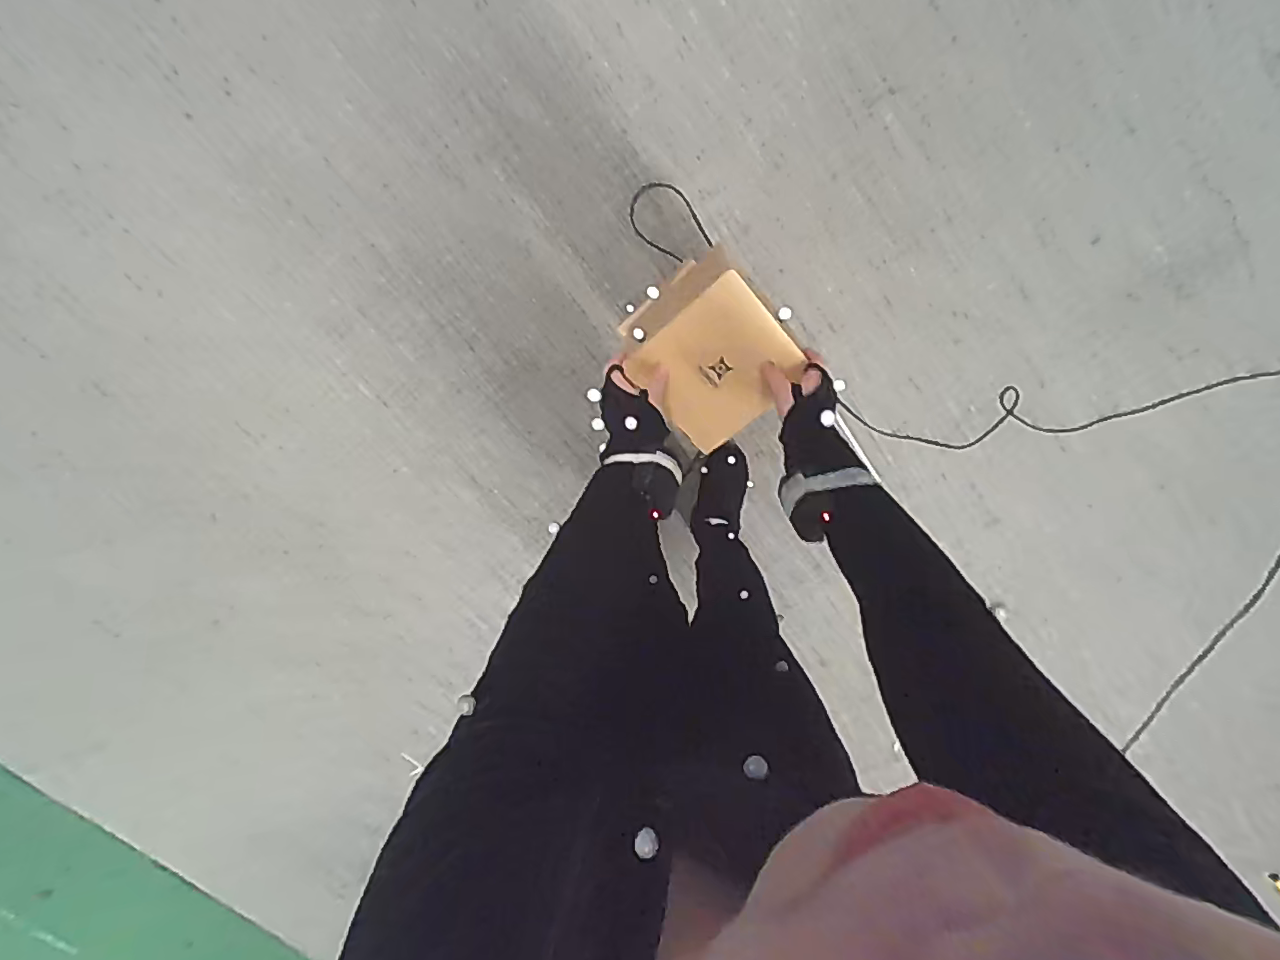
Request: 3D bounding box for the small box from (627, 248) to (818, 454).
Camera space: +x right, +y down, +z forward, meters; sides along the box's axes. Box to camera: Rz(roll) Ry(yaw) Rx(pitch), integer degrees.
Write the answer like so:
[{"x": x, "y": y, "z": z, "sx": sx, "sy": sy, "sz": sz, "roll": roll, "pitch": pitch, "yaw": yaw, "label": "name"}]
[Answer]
[{"x": 0.104, "y": -0.175, "z": 0.717, "sx": 0.179, "sy": 0.176, "sz": 0.168, "roll": -37, "pitch": 113, "yaw": 27, "label": "small box"}]
